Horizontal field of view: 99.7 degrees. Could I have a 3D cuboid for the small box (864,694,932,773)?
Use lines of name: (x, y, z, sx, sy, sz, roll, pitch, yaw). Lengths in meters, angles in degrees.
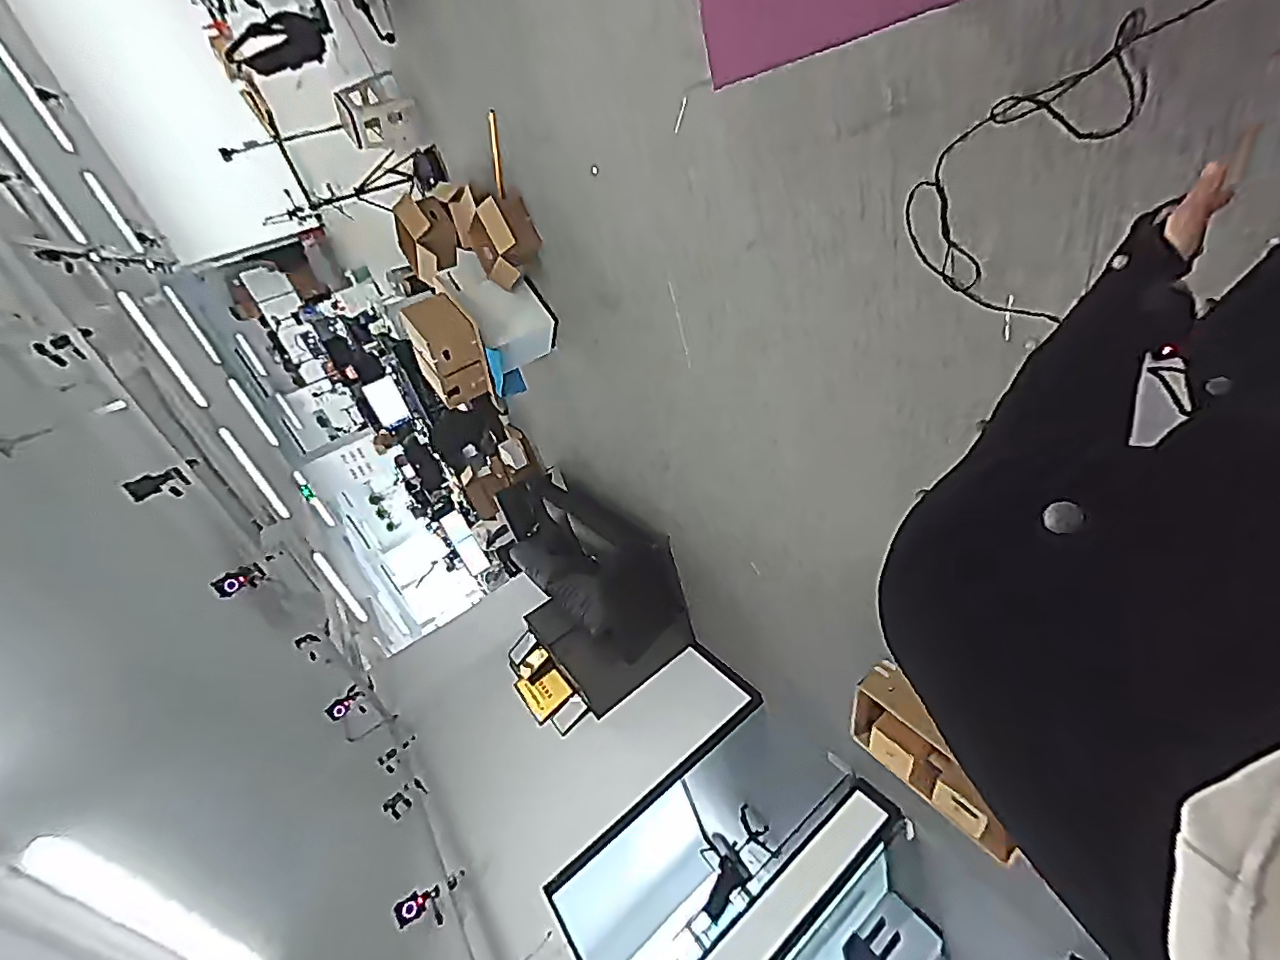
small box: (0.979, 0.960, 2.053, 0.168, 0.176, 0.179, 33, 145, 44)
